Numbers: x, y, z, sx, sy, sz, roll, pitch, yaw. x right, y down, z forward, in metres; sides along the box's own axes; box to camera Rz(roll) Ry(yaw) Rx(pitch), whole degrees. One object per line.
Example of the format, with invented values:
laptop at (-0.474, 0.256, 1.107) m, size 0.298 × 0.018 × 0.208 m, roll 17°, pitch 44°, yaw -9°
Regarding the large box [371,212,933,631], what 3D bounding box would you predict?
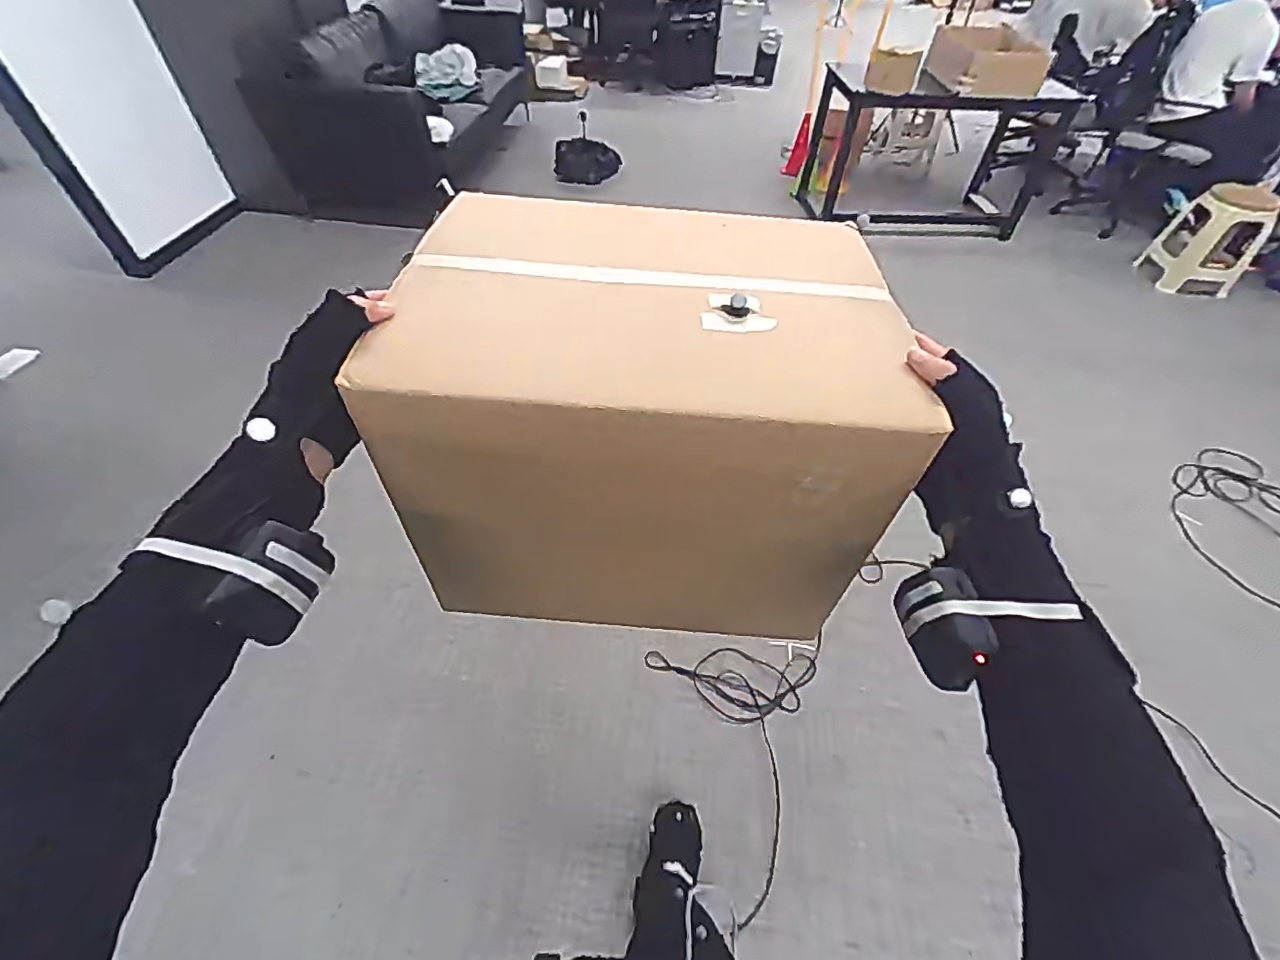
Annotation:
large box at (0.005, -0.055, 0.582) m, size 0.408 × 0.320 × 0.320 m, roll 5°, pitch 49°, yaw -1°
